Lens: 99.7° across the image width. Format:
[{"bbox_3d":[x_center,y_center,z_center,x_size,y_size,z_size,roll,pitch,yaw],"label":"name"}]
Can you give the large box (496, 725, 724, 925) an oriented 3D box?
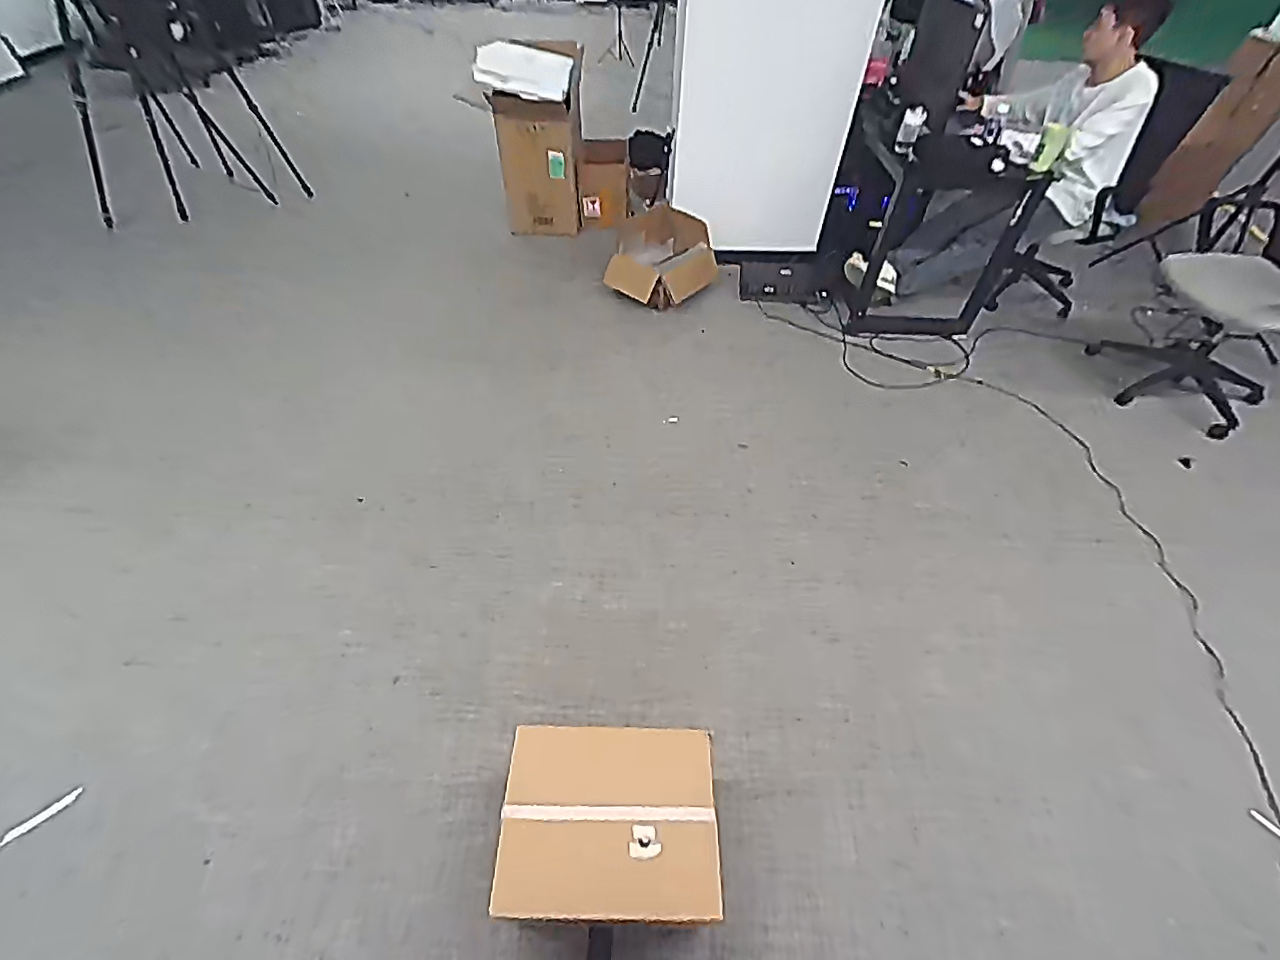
[{"bbox_3d":[-0.059,0.729,1.138,0.408,0.320,0.320,2,49,-2],"label":"large box"}]
